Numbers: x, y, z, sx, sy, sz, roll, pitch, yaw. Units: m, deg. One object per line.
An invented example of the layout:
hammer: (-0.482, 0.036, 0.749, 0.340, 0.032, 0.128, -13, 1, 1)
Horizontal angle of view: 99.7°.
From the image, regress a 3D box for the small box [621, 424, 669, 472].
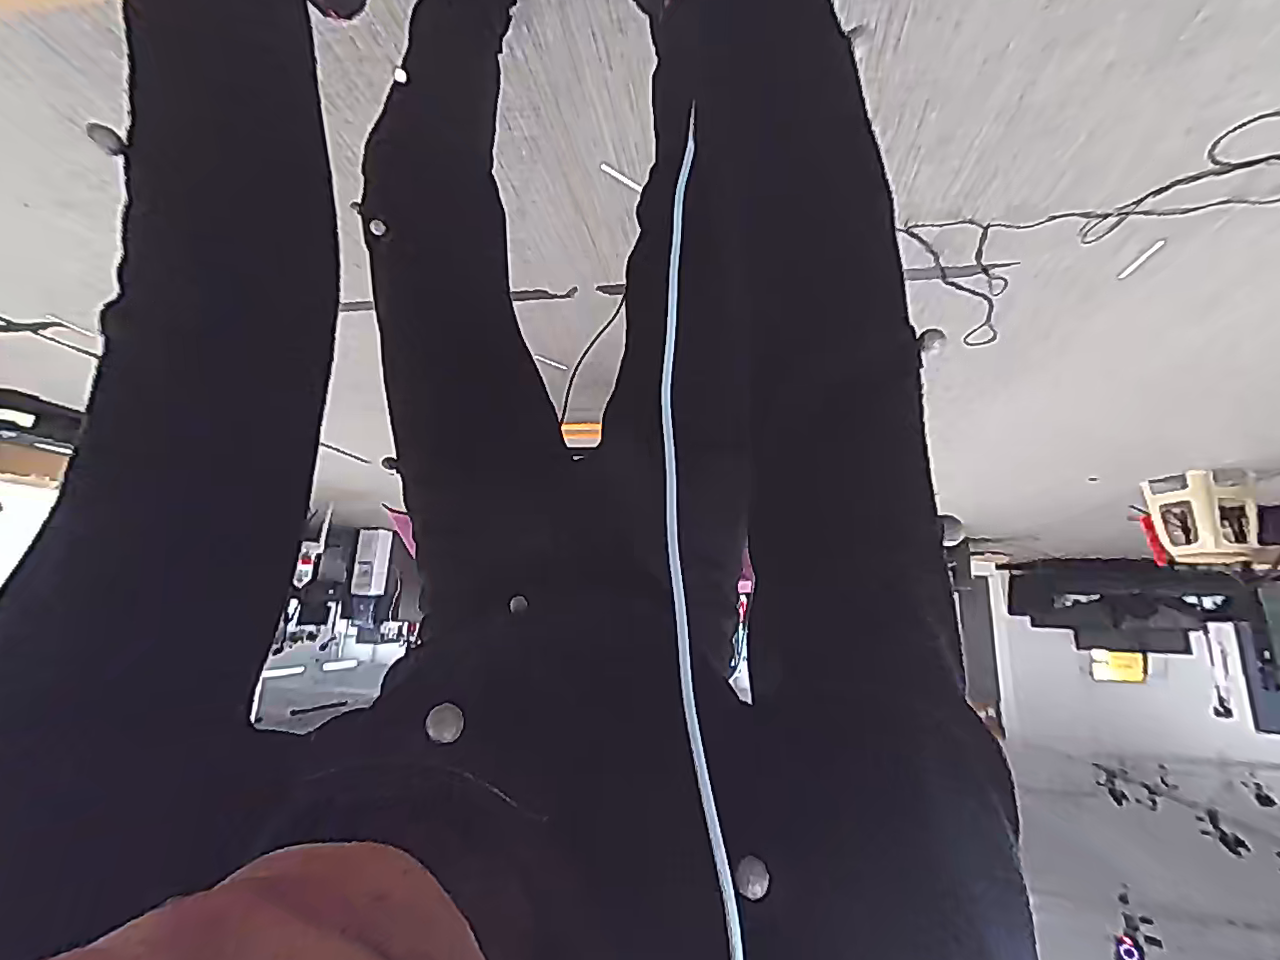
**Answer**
small box: (0.027, -0.135, 2.269, 0.179, 0.176, 0.168, 1, 167, 13)
